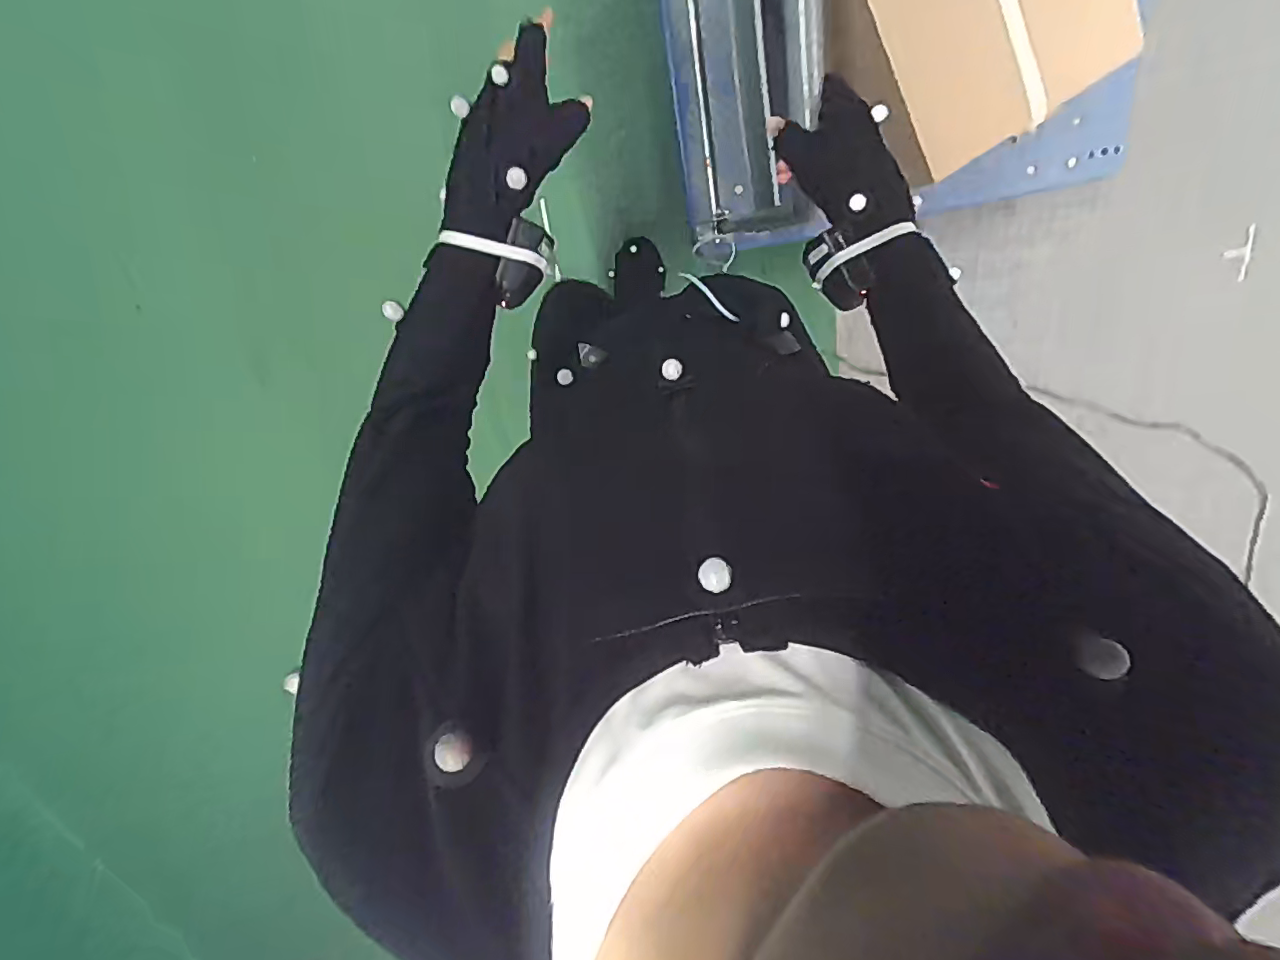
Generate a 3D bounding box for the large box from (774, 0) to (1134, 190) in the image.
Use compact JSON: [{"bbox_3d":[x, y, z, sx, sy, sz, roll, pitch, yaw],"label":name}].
[{"bbox_3d":[0.460,-0.752,0.863,0.320,0.320,0.408,-31,109,12],"label":"large box"}]
